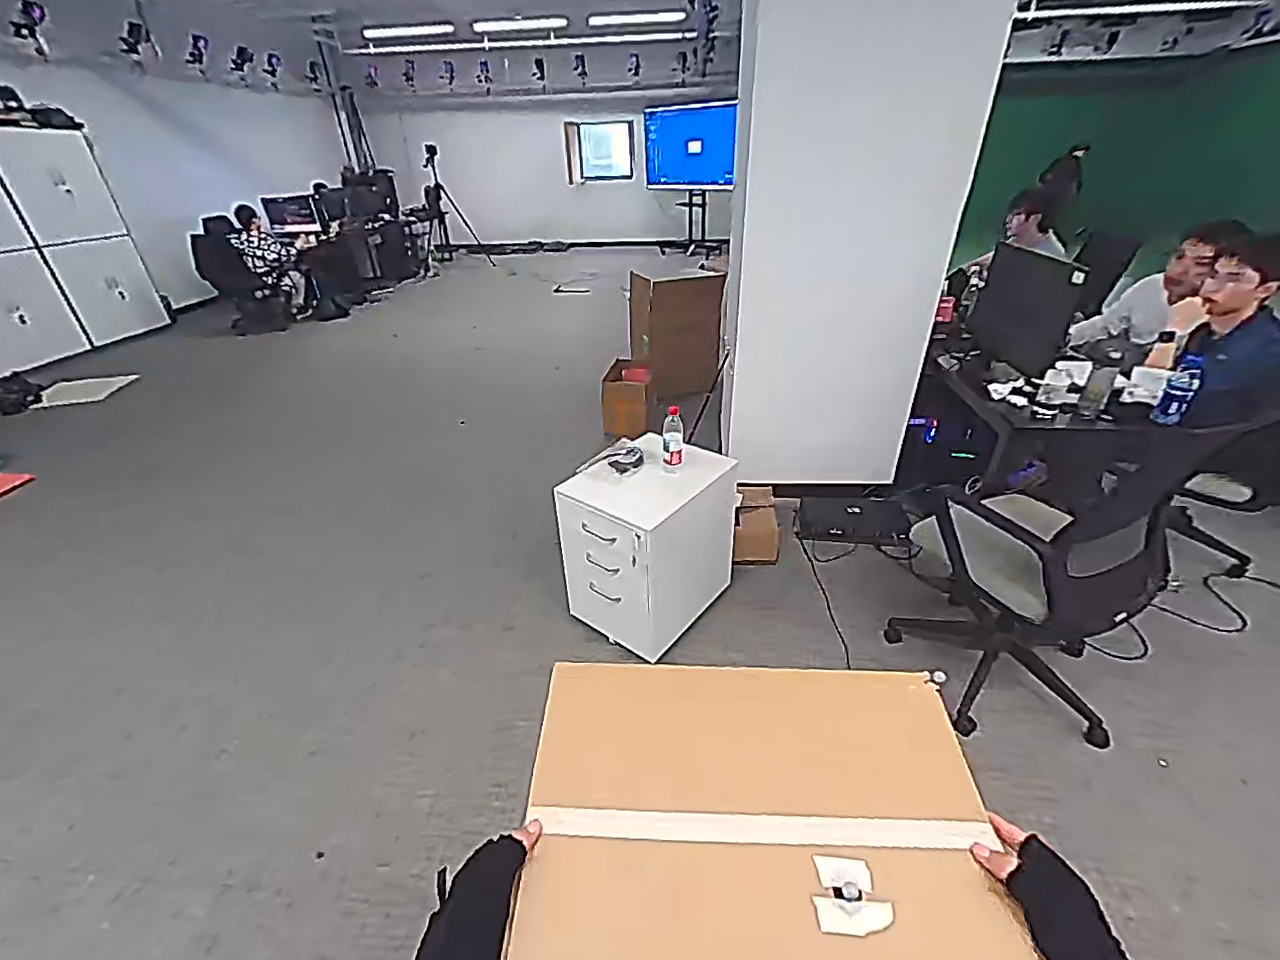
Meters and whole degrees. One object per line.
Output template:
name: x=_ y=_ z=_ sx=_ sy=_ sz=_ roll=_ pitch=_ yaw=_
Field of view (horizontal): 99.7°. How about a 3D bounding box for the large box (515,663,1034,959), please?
large box: x=0.106 y=0.421 z=0.579 sx=0.408 sy=0.320 sz=0.320 roll=1 pitch=41 yaw=3
